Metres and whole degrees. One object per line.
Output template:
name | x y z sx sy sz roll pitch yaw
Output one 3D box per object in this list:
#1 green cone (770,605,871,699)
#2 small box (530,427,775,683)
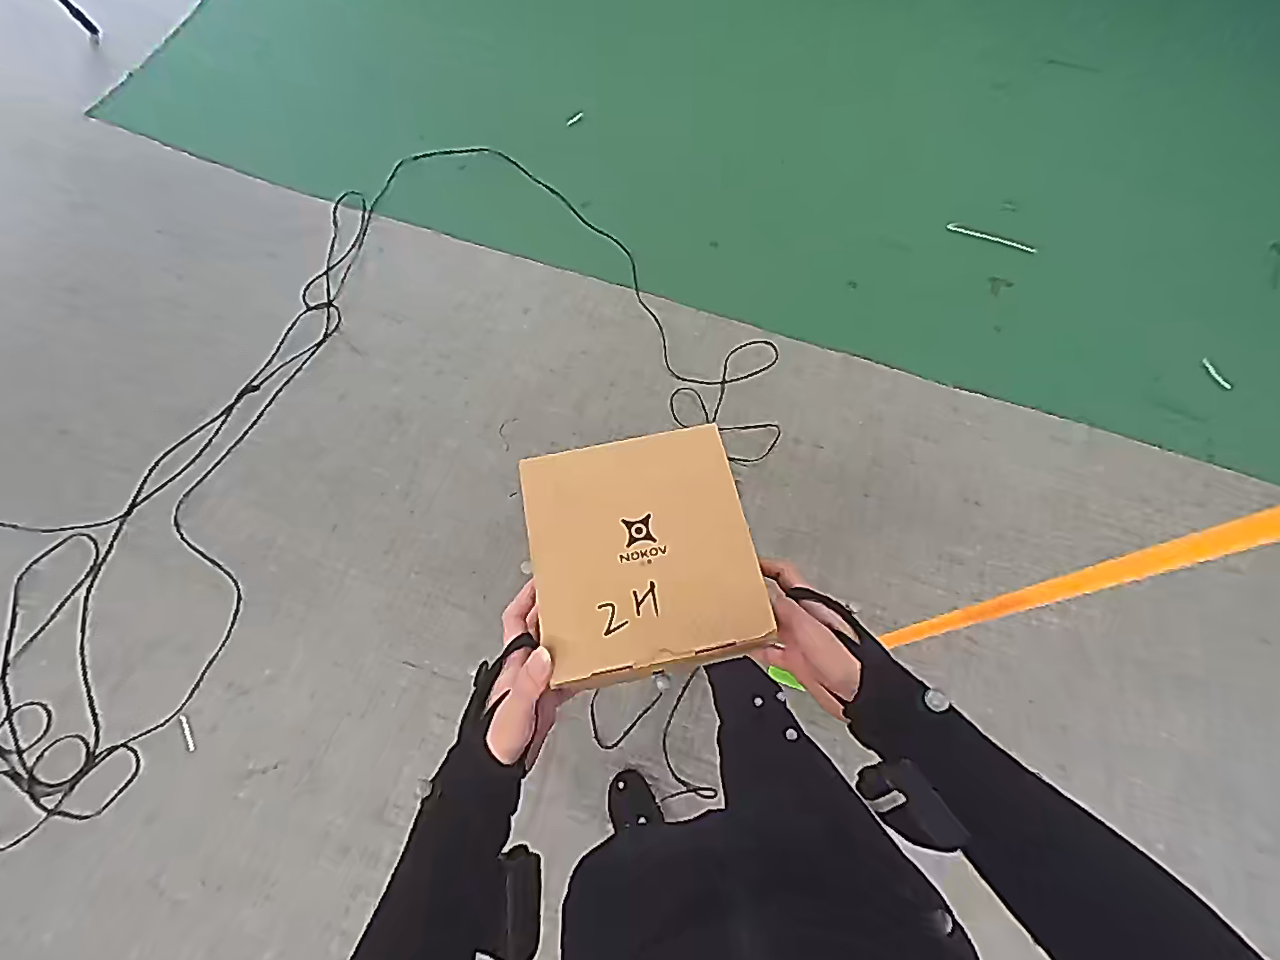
green cone | 0.463 0.398 1.281 0.202 0.368 0.200 19 71 7
small box | 0.004 0.077 0.489 0.168 0.176 0.179 -10 68 -3
